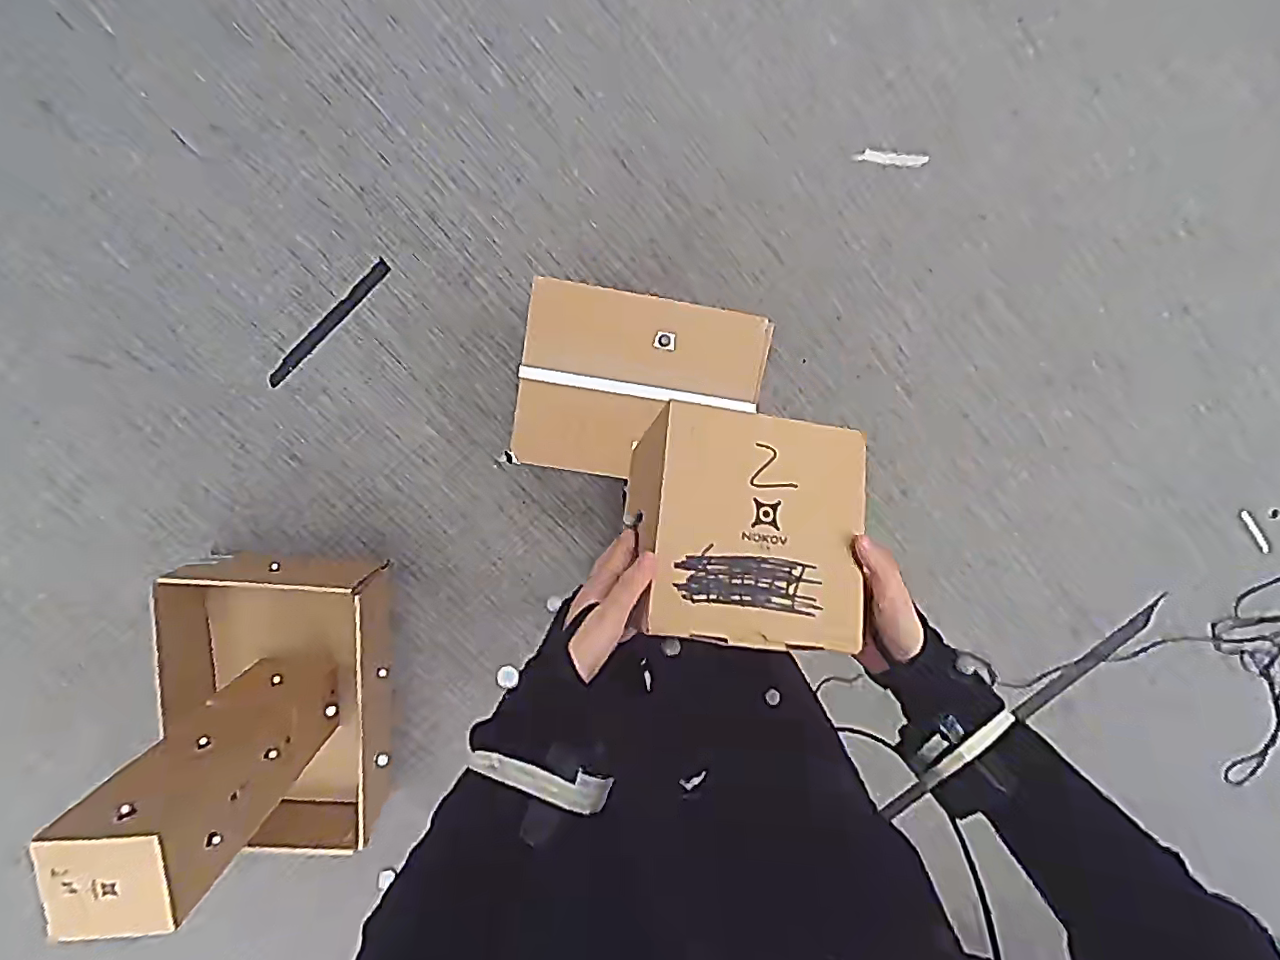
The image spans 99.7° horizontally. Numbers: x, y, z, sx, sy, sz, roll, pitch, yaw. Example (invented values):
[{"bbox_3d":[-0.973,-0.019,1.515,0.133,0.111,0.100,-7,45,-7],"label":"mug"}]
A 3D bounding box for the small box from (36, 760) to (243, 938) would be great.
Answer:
[{"bbox_3d":[-0.765,0.568,0.854,0.179,0.176,0.168,-1,99,-4],"label":"small box"}]

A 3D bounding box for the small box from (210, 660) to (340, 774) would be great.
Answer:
[{"bbox_3d":[-0.784,0.508,1.175,0.179,0.176,0.168,4,101,-5],"label":"small box"}]

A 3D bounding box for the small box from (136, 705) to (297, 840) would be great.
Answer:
[{"bbox_3d":[-0.777,0.544,1.018,0.179,0.176,0.168,-1,100,-2],"label":"small box"}]
